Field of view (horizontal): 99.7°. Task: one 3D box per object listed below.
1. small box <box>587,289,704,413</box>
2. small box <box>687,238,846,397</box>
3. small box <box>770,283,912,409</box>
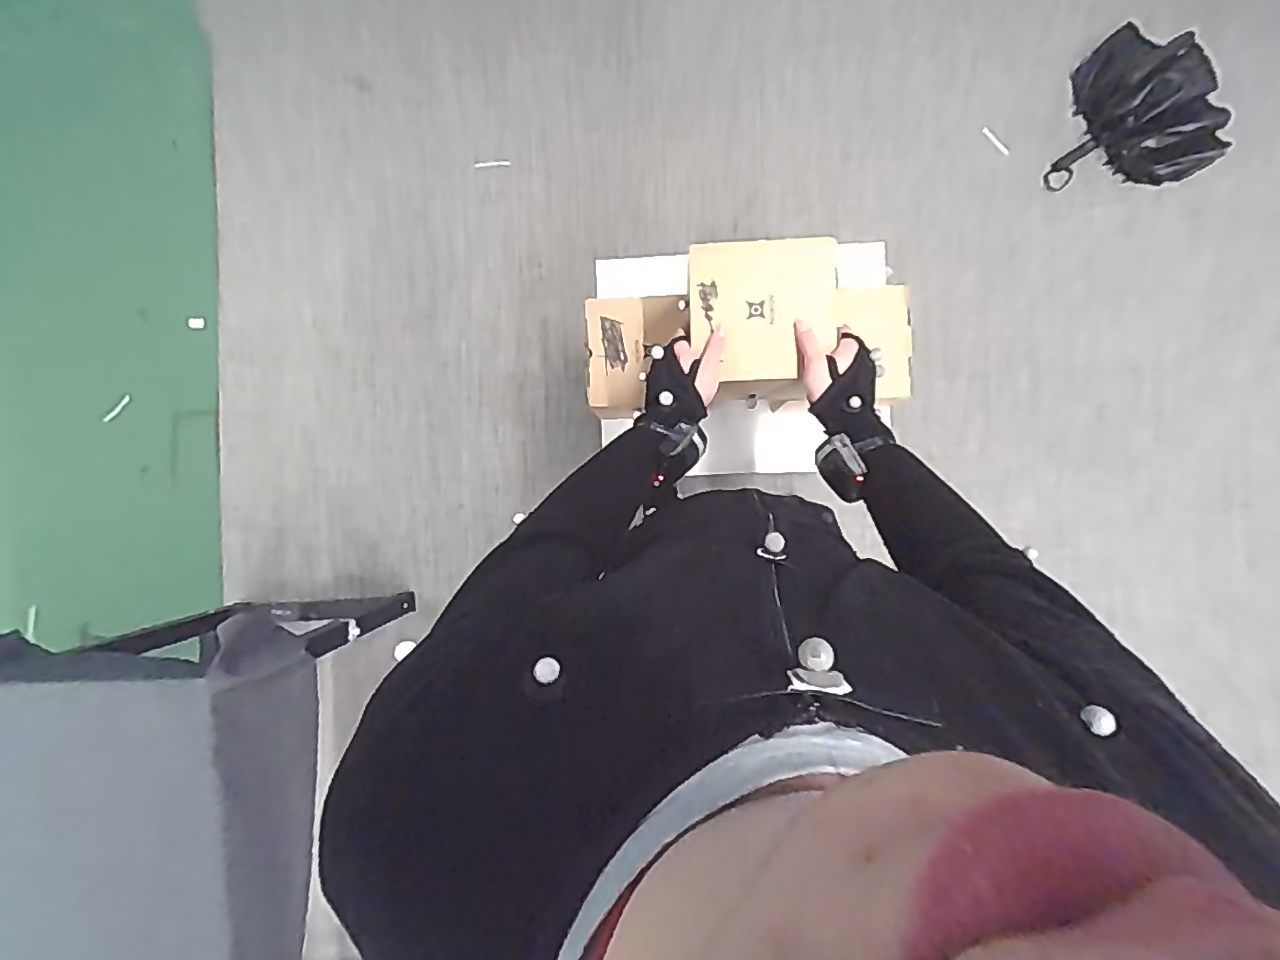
[{"bbox_3d":[0.012,-0.200,0.880,0.179,0.176,0.168,-2,91,1],"label":"small box"},{"bbox_3d":[0.155,-0.202,0.712,0.179,0.176,0.168,-1,91,2],"label":"small box"},{"bbox_3d":[0.311,-0.206,0.865,0.179,0.176,0.168,0,91,5],"label":"small box"}]
